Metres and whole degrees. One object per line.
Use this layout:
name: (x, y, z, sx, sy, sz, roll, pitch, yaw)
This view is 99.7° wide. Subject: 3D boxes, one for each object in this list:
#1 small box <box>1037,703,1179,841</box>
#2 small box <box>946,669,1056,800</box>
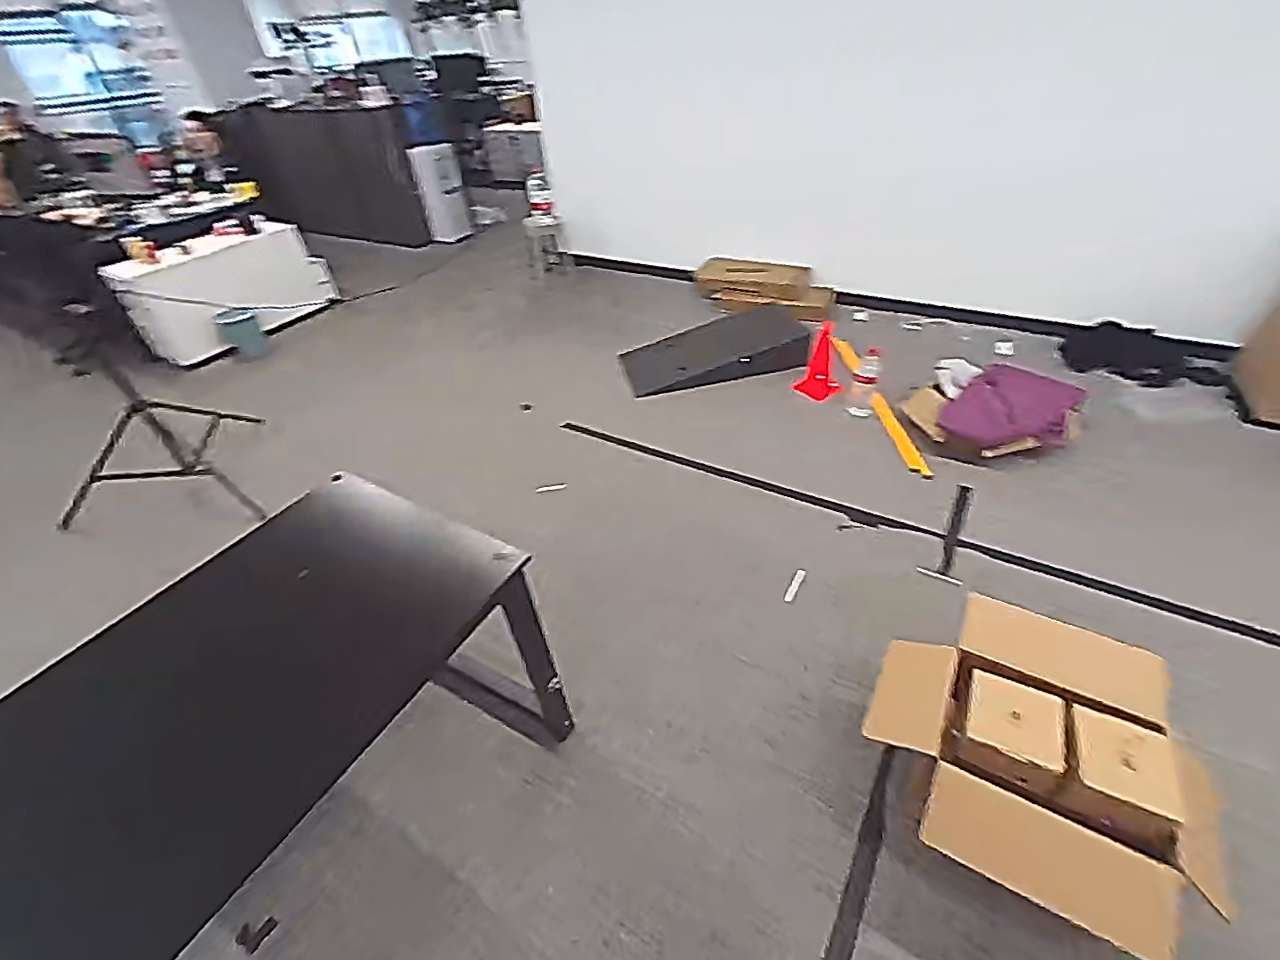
small box: (0.949, 0.608, 1.122, 0.168, 0.176, 0.179, 17, 45, 18)
small box: (0.791, 0.562, 1.193, 0.168, 0.176, 0.179, 15, 43, 25)
